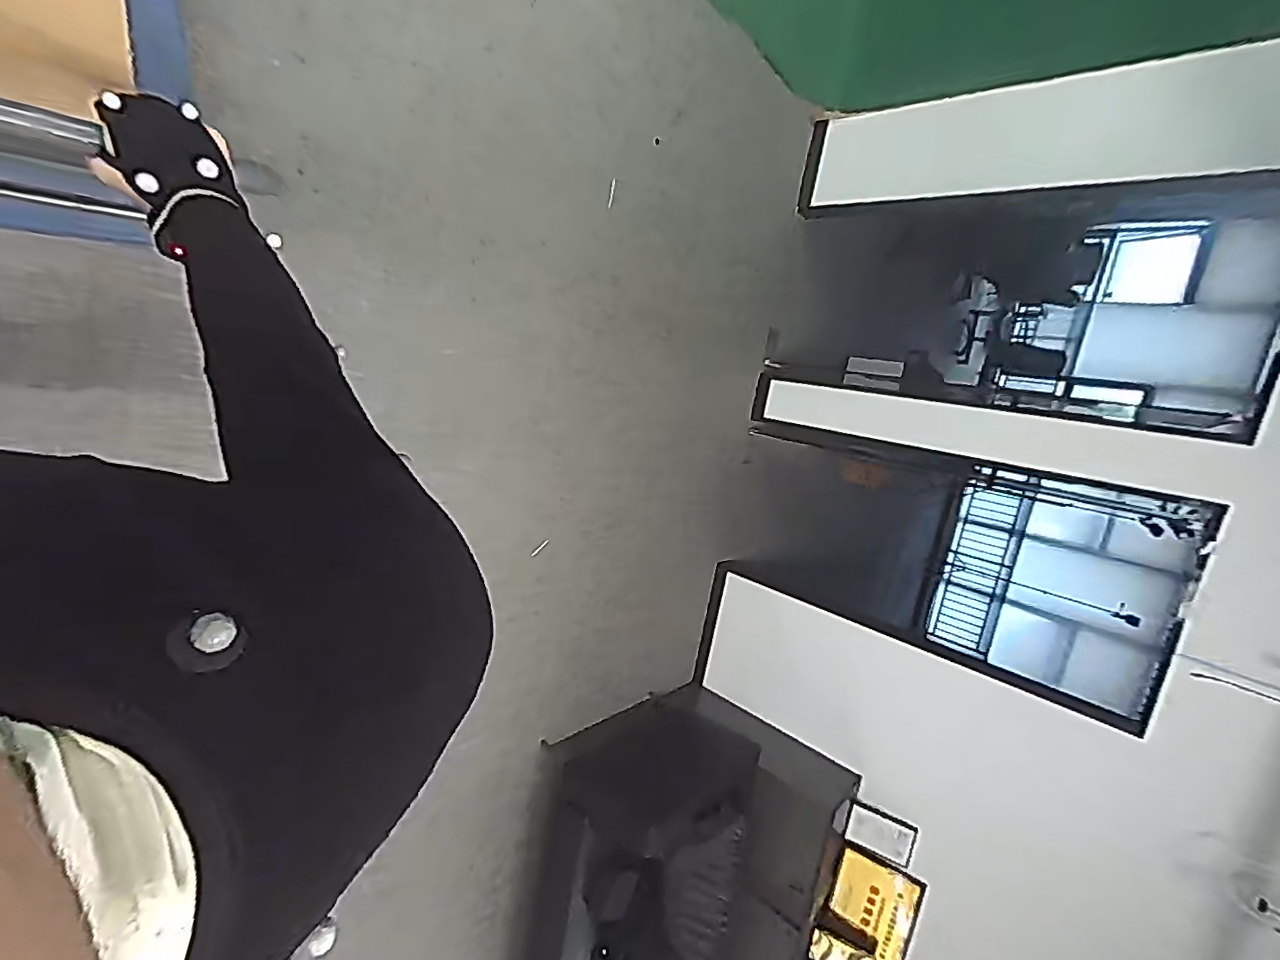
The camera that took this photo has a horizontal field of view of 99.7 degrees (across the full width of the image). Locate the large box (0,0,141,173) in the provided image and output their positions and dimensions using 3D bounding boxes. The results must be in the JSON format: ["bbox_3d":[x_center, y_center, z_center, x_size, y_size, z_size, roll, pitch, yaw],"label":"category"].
[{"bbox_3d":[-0.919,-0.679,0.713,0.320,0.320,0.408,-12,112,-49],"label":"large box"}]
